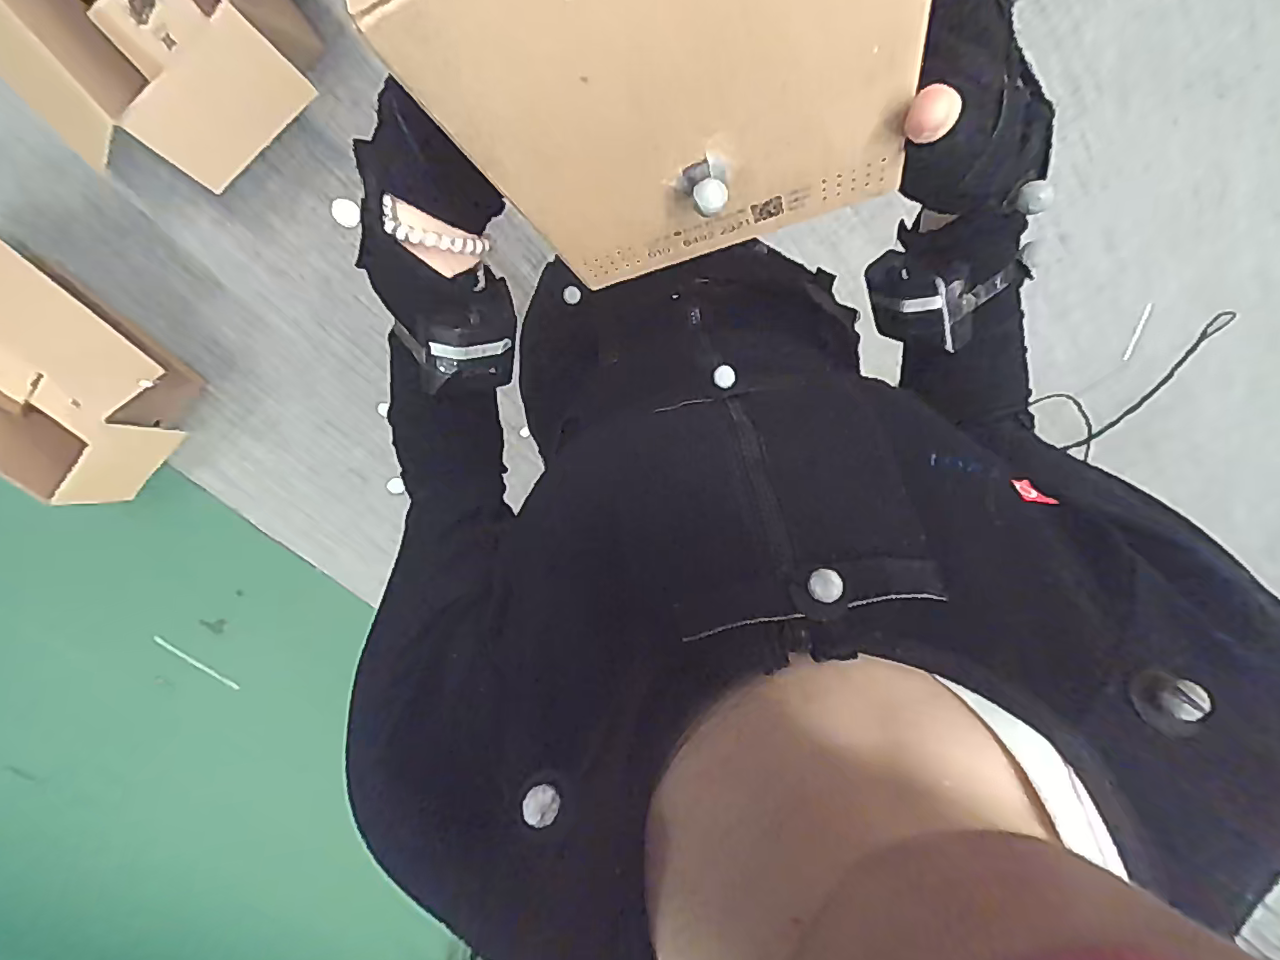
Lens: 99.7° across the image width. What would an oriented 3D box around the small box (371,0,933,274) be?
[{"bbox_3d":[0.011,-0.220,0.222,0.168,0.176,0.179,-11,79,18],"label":"small box"}]
